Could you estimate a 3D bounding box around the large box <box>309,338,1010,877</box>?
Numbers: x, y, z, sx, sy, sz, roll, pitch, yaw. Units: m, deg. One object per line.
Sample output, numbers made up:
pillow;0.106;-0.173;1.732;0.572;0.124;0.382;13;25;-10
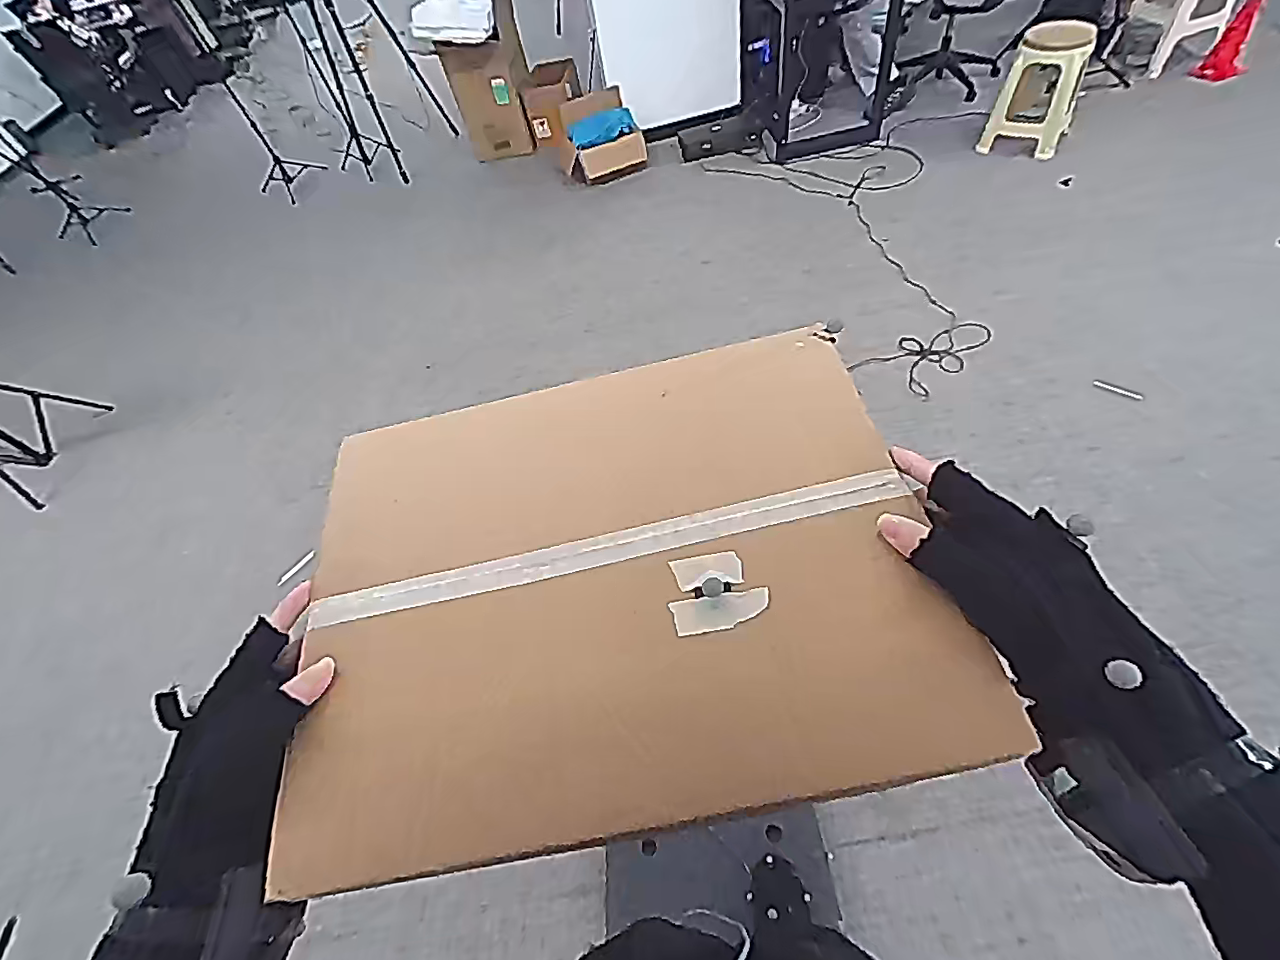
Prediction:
large box;0.003;0.129;0.498;0.408;0.320;0.320;-13;58;2
